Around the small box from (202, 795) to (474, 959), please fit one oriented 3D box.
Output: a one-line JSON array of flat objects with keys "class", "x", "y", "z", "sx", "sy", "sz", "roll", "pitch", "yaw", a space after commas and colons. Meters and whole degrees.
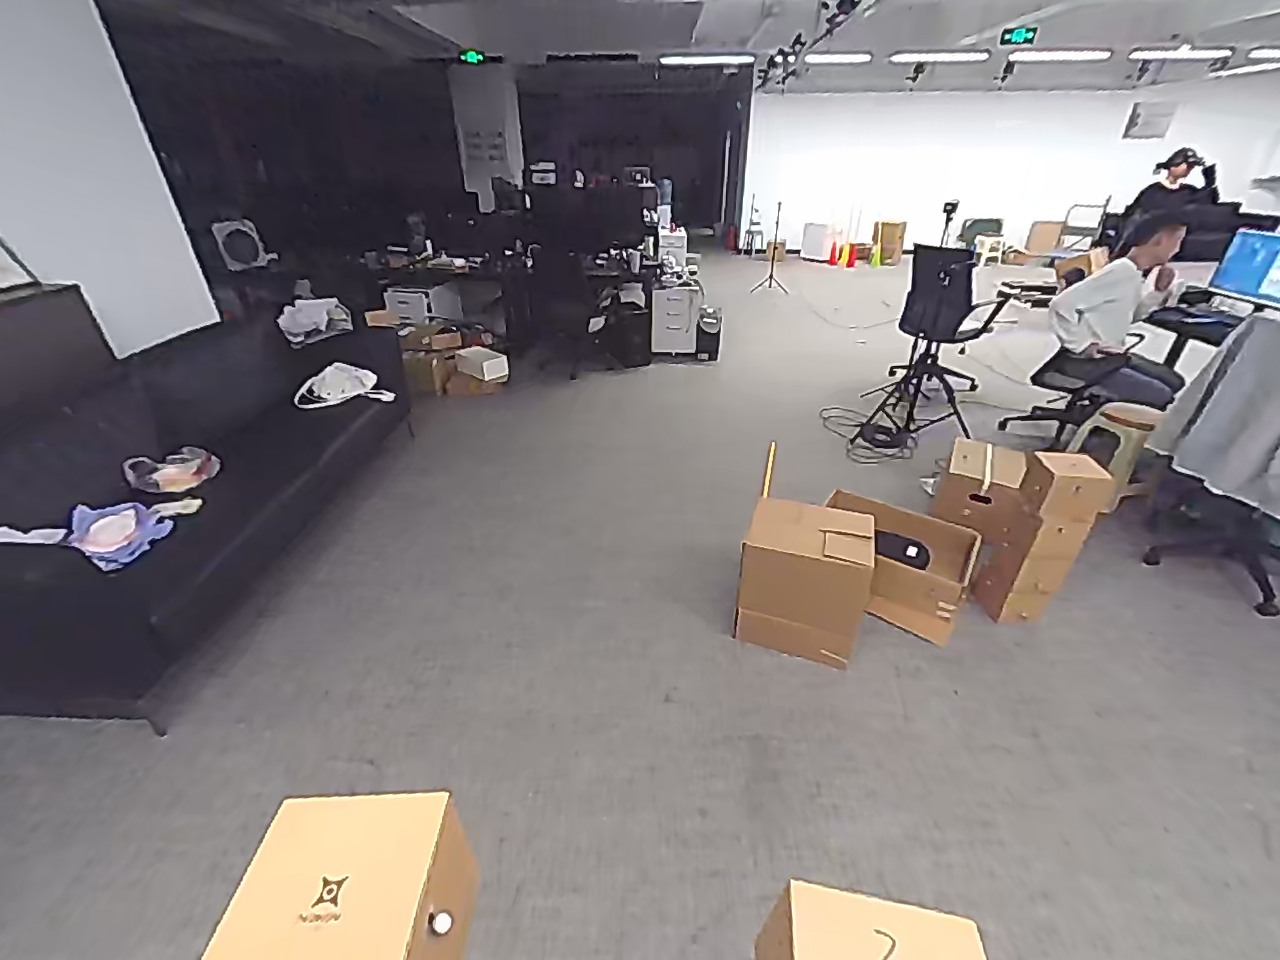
[{"class": "small box", "x": -0.263, "y": 0.426, "z": 0.502, "sx": 0.168, "sy": 0.176, "sz": 0.179, "roll": -2, "pitch": 32, "yaw": 0}]
